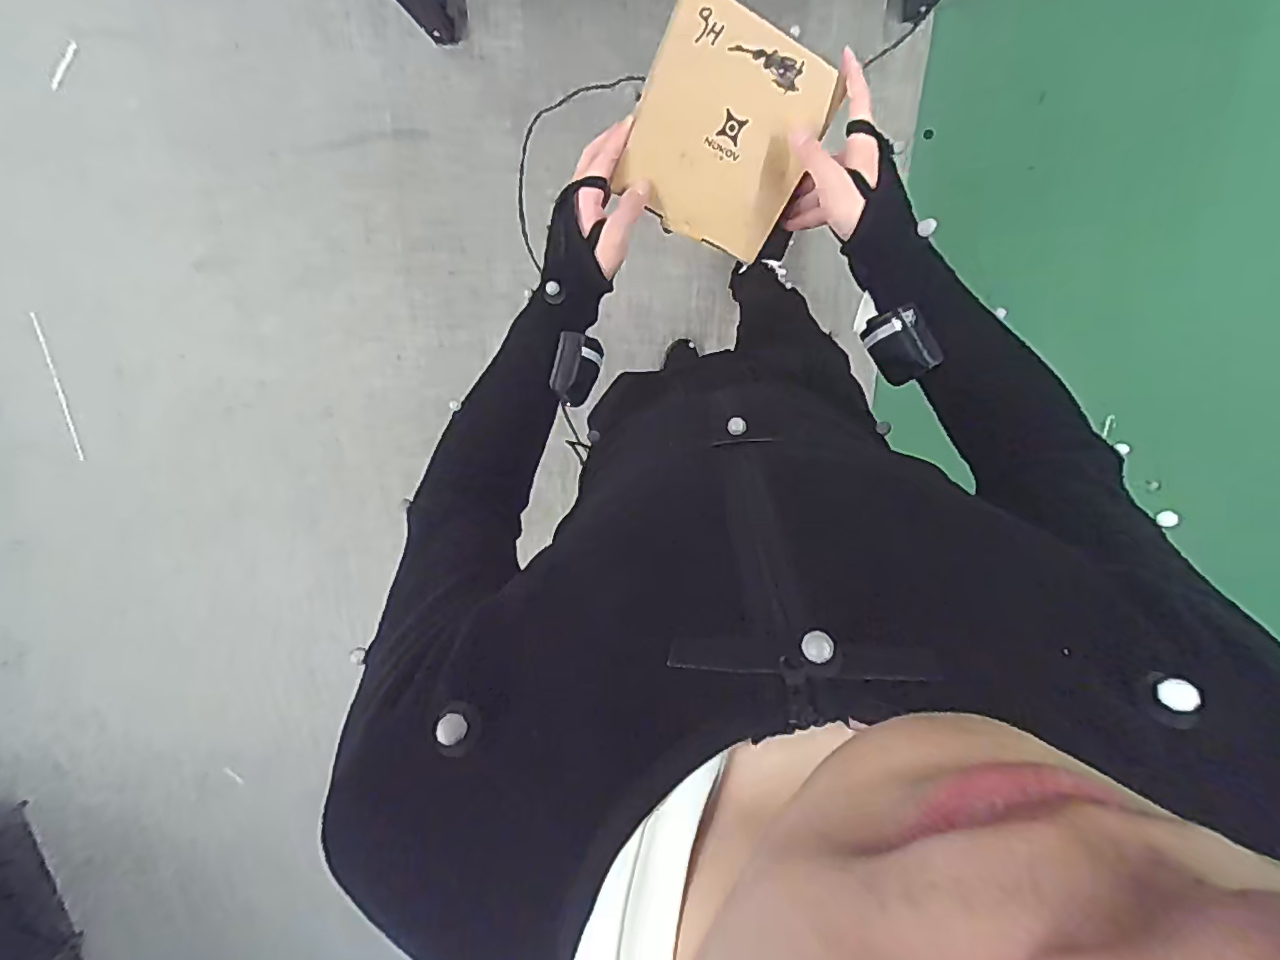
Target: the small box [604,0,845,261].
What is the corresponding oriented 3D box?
[{"bbox_3d":[0.073,-0.364,0.567,0.168,0.176,0.179,21,120,-16],"label":"small box"}]
